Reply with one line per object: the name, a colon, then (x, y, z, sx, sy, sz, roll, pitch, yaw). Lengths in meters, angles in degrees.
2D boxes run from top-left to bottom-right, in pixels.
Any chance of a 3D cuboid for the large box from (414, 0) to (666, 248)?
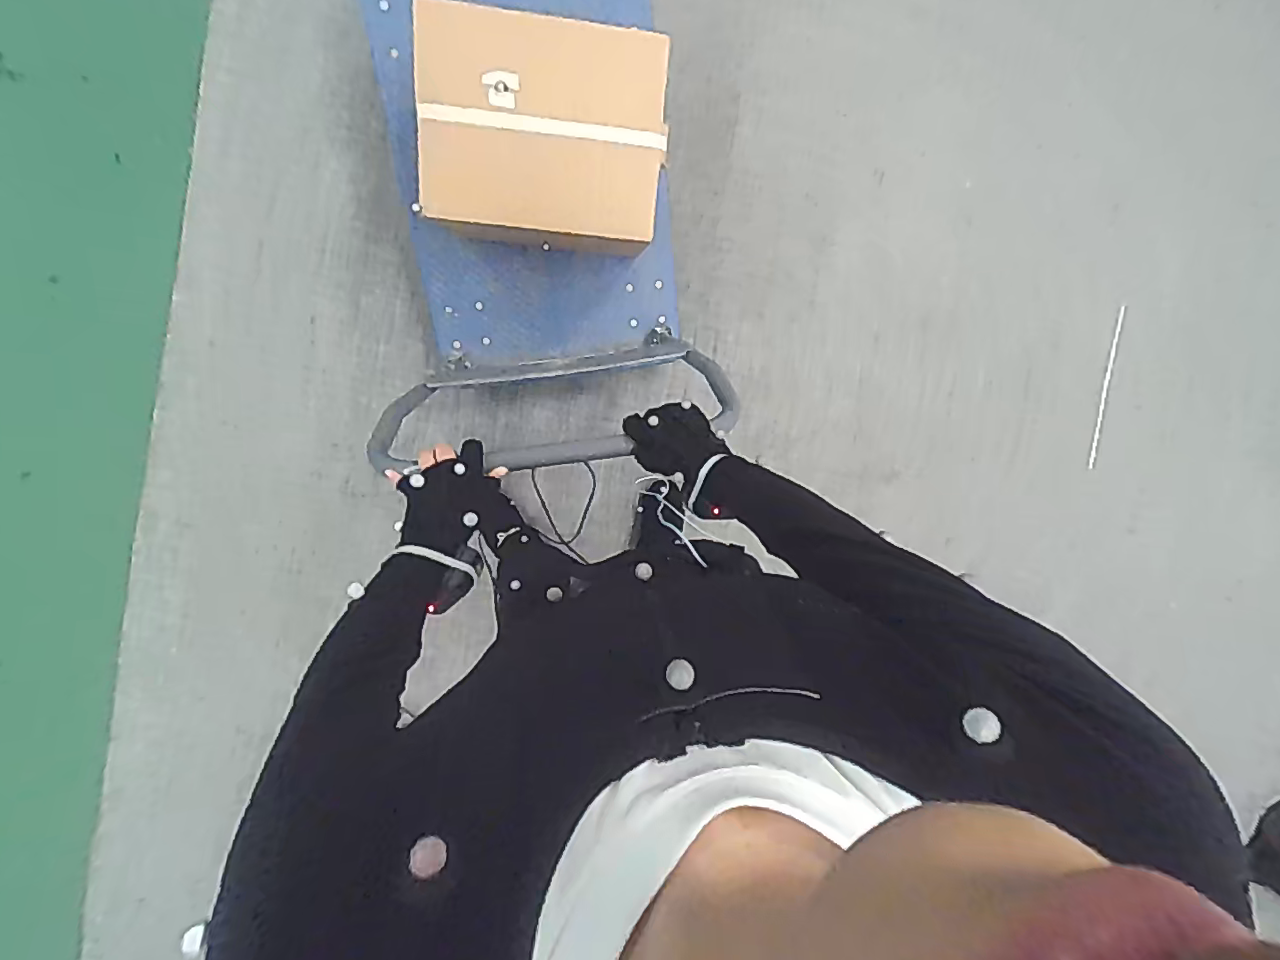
large box: (-0.177, -0.637, 1.040, 0.408, 0.320, 0.320, 4, 108, -6)
